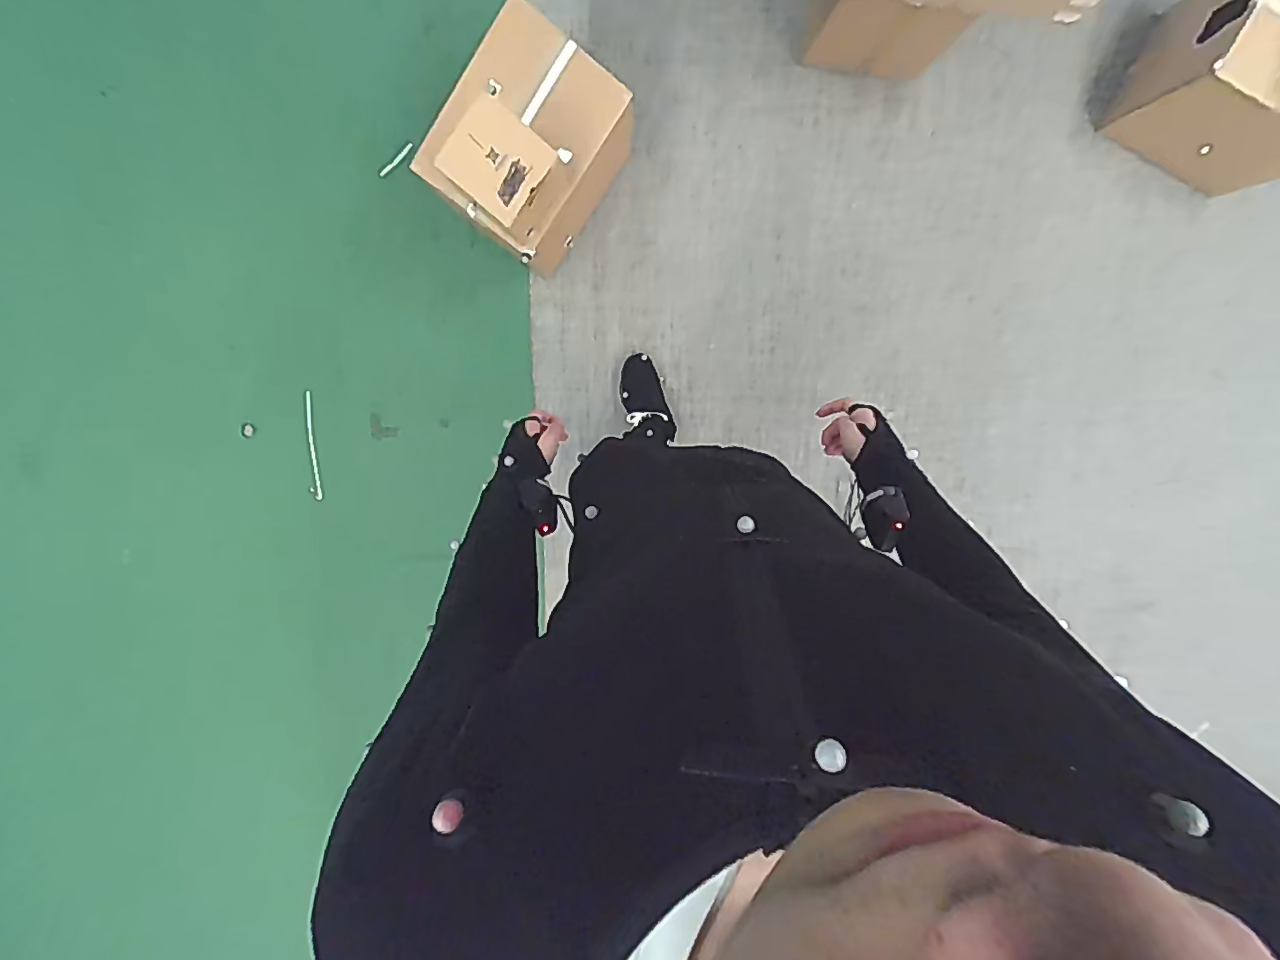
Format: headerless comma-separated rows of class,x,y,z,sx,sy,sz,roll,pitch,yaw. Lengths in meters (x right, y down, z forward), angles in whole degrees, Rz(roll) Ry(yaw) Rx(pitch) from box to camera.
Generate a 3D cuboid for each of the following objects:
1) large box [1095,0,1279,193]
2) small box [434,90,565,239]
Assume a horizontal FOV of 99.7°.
large box,1.471,-0.968,1.311,0.408,0.320,0.320,23,99,-5
small box,-0.265,-0.606,1.074,0.179,0.176,0.168,38,97,-9
